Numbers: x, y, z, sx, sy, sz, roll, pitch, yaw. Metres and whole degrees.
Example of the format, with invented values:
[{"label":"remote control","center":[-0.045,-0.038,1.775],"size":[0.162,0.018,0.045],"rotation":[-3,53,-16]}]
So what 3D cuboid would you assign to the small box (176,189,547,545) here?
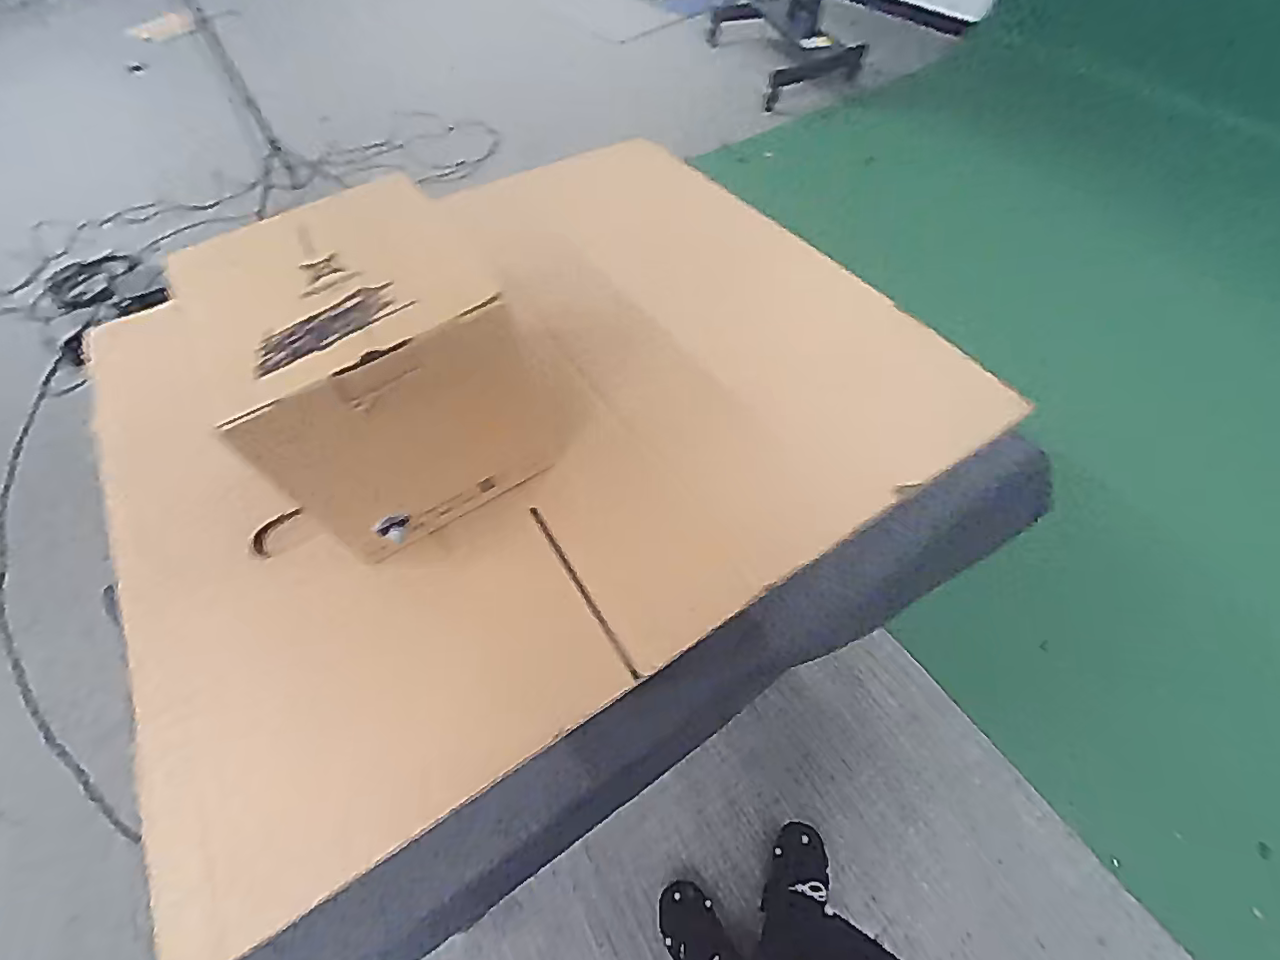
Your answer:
[{"label":"small box","center":[-0.189,-0.073,0.406],"size":[0.168,0.176,0.179],"rotation":[-31,59,-15]}]
